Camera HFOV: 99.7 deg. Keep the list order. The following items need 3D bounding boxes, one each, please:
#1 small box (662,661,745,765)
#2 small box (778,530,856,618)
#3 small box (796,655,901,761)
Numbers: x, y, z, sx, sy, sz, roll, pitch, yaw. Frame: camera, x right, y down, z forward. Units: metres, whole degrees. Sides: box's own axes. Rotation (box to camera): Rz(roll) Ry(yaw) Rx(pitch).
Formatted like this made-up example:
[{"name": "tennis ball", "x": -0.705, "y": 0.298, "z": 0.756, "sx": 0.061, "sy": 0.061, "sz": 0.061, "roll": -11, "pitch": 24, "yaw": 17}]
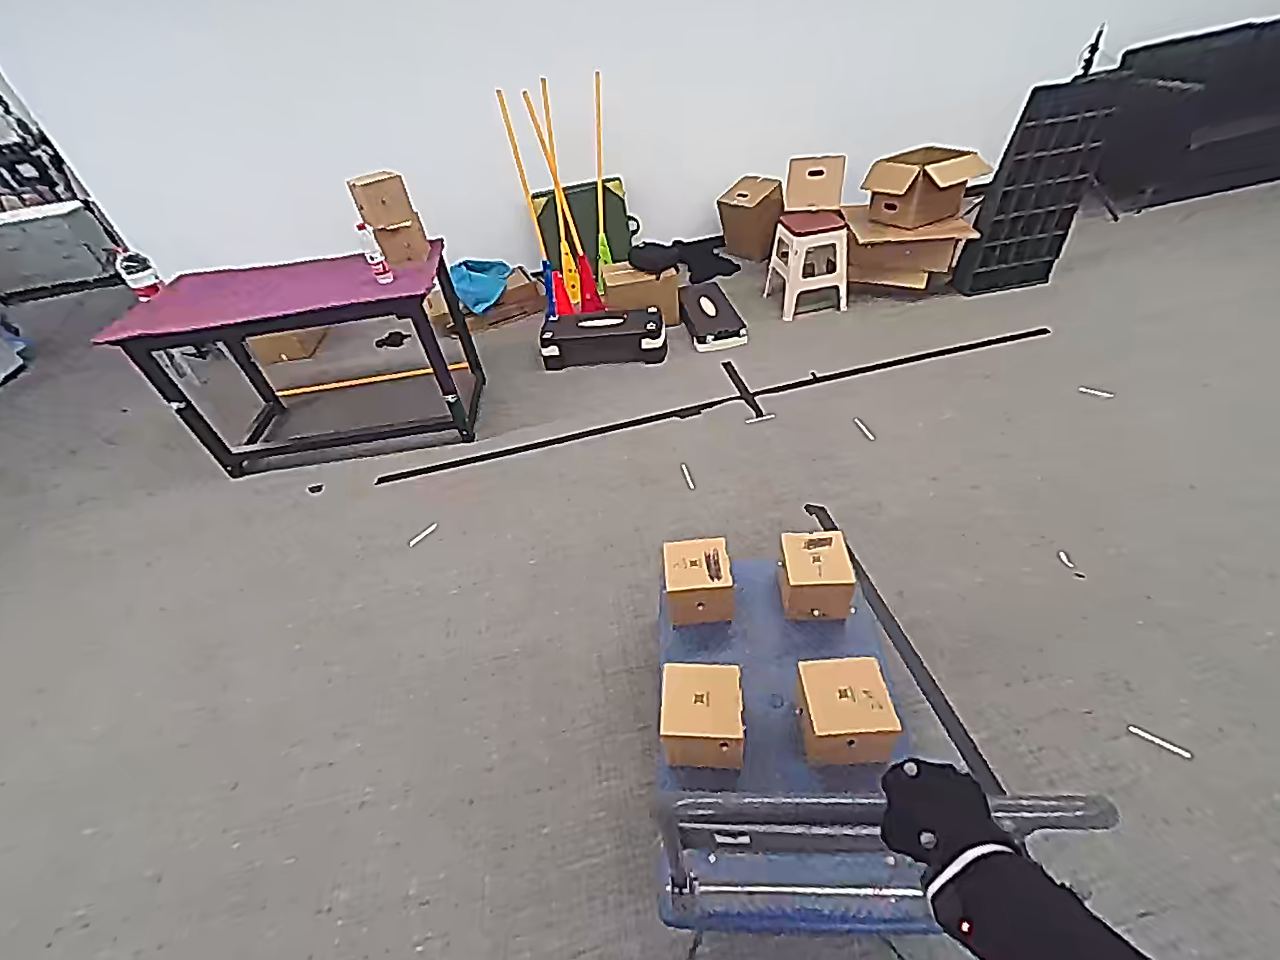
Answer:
[{"name": "small box", "x": 0.146, "y": 0.535, "z": 1.239, "sx": 0.179, "sy": 0.176, "sz": 0.168, "roll": 0, "pitch": 43, "yaw": 6}, {"name": "small box", "x": 0.477, "y": 0.258, "z": 1.484, "sx": 0.168, "sy": 0.176, "sz": 0.179, "roll": -3, "pitch": 44, "yaw": 6}, {"name": "small box", "x": 0.454, "y": 0.514, "z": 1.211, "sx": 0.179, "sy": 0.176, "sz": 0.168, "roll": -5, "pitch": 43, "yaw": 4}]
